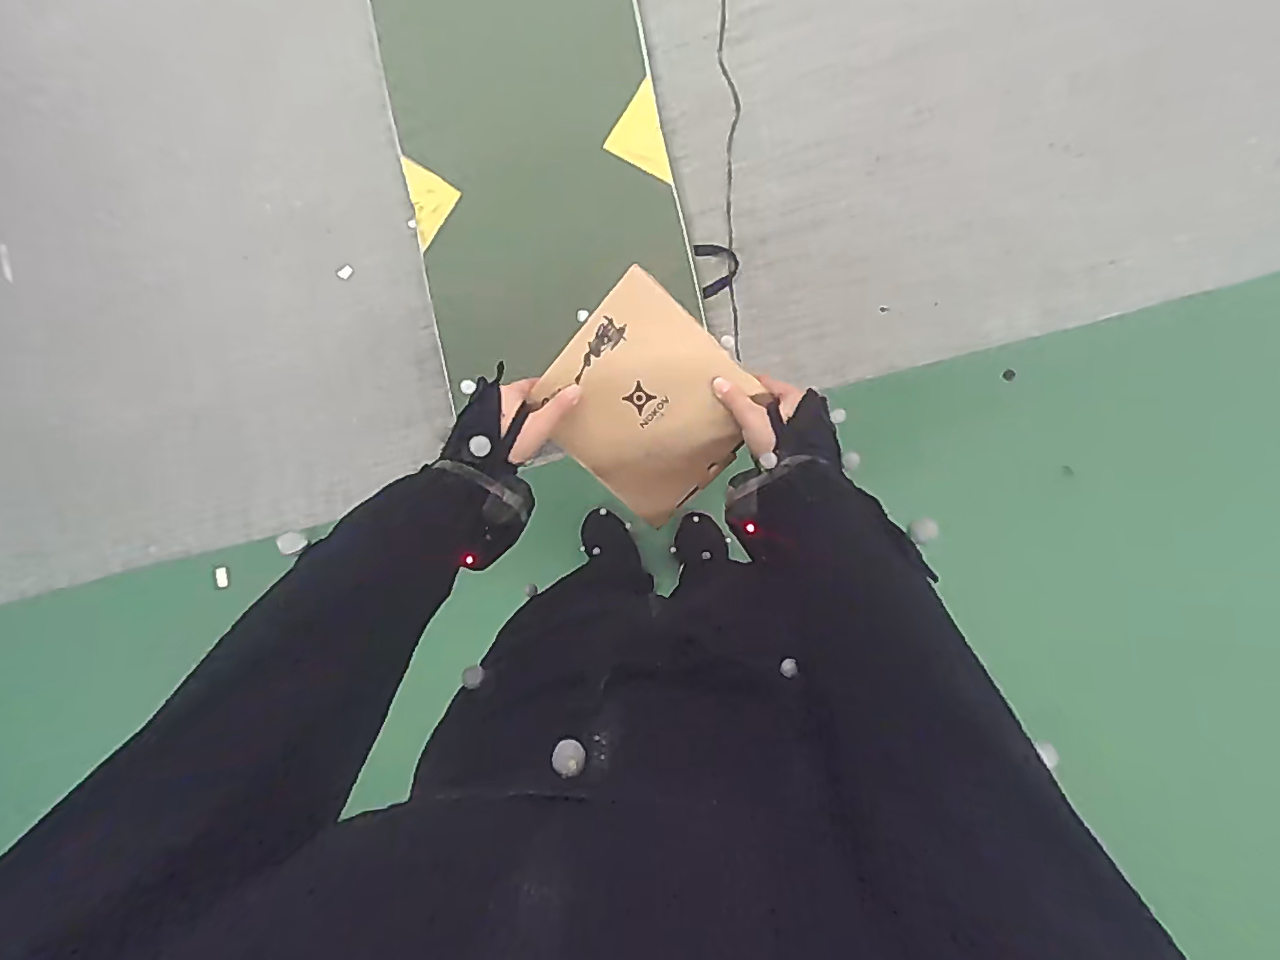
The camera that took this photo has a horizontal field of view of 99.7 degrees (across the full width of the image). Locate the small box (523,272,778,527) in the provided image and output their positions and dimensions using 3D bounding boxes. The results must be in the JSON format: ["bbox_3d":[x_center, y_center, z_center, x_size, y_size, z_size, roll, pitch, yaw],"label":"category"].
[{"bbox_3d":[0.017,-0.088,0.562,0.179,0.176,0.168,42,106,-5],"label":"small box"}]
